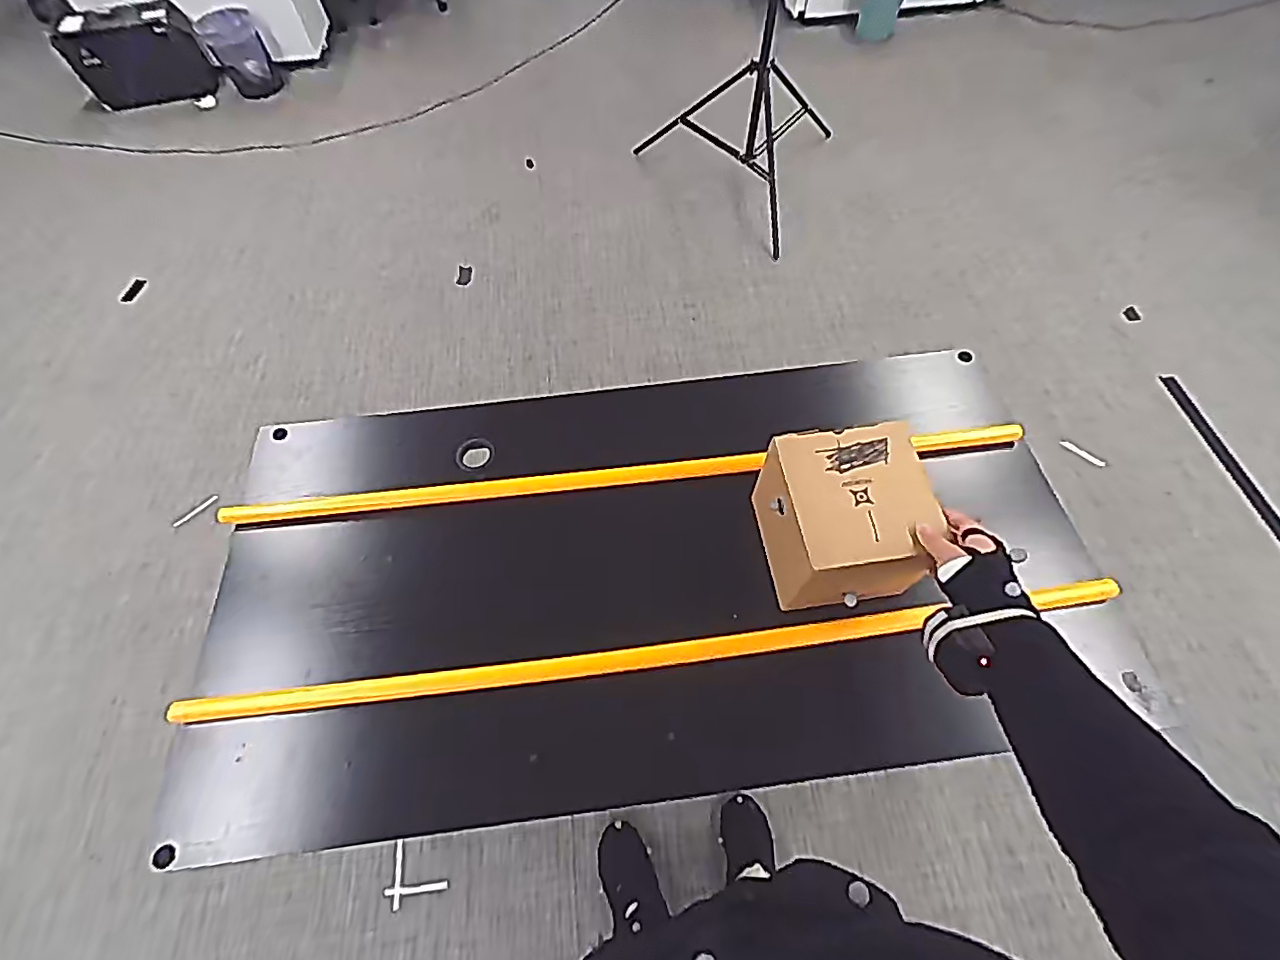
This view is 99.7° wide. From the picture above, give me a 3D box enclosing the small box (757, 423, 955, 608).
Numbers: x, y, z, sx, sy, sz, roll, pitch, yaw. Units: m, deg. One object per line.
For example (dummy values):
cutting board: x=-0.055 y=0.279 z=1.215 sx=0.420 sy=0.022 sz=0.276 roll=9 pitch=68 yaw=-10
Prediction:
small box: x=0.258 y=0.051 z=0.700 sx=0.168 sy=0.176 sz=0.179 roll=-7 pitch=62 yaw=-2
